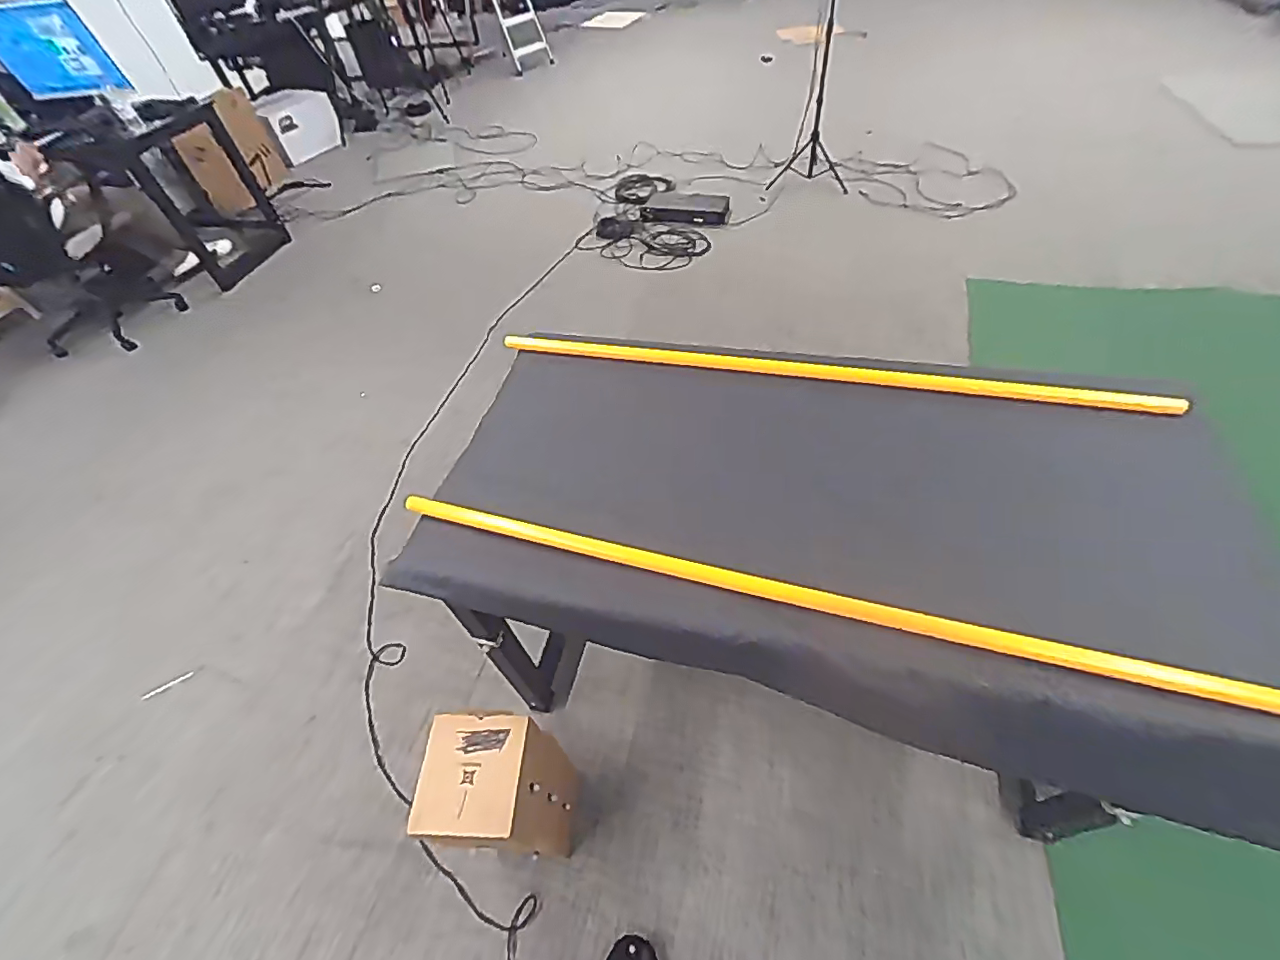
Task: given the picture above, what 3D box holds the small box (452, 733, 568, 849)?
[{"bbox_3d":[-0.242,0.613,1.059,0.168,0.176,0.179,-6,49,5],"label":"small box"}]
